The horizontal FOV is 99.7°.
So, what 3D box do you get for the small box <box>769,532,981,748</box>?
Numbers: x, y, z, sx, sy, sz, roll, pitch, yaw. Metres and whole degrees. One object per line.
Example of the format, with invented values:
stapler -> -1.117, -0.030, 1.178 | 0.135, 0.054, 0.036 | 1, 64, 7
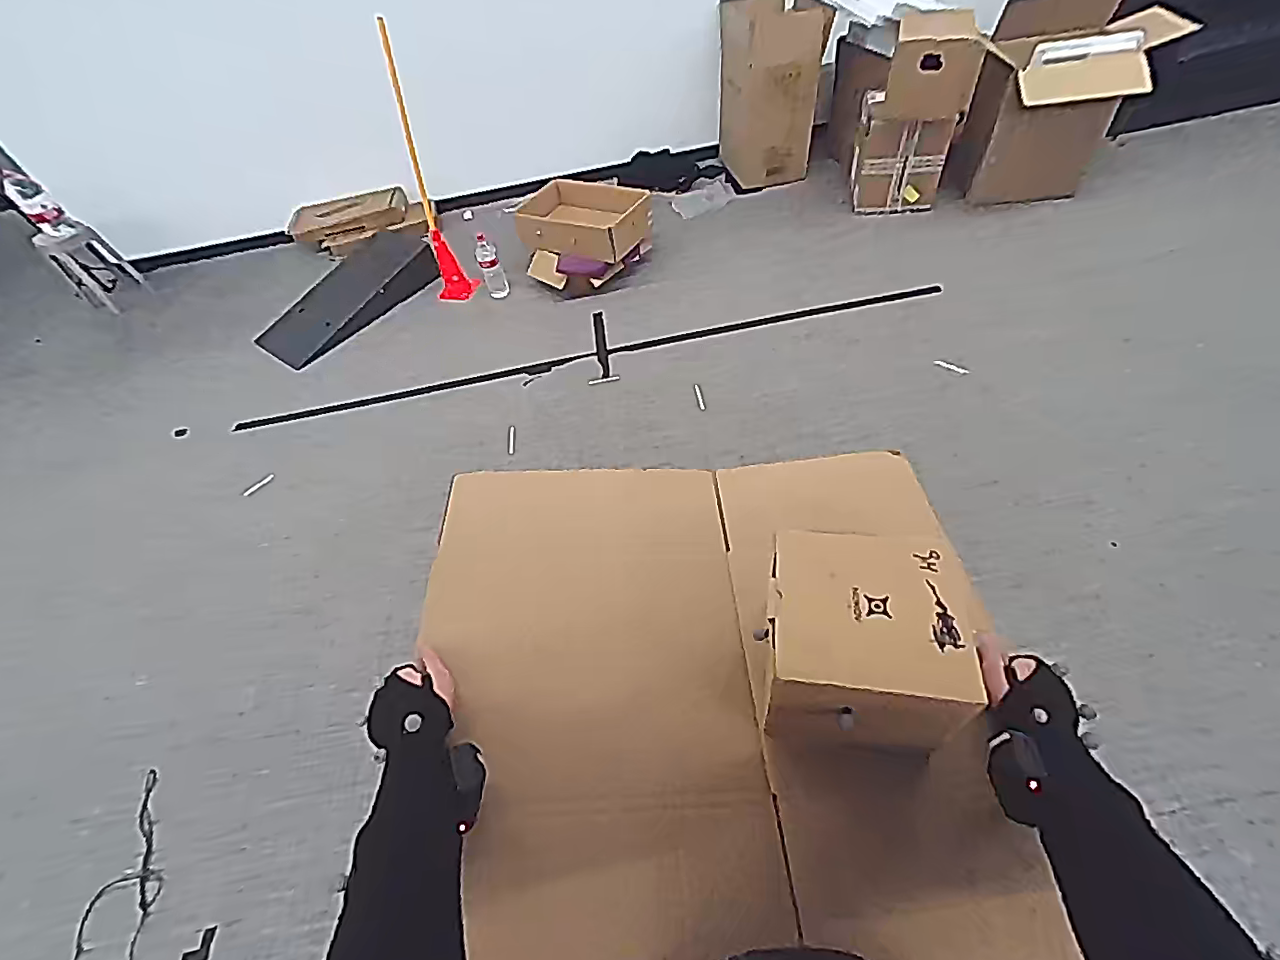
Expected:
small box -> 0.230, 0.173, 0.583 | 0.179, 0.176, 0.168 | 2, 50, 13
